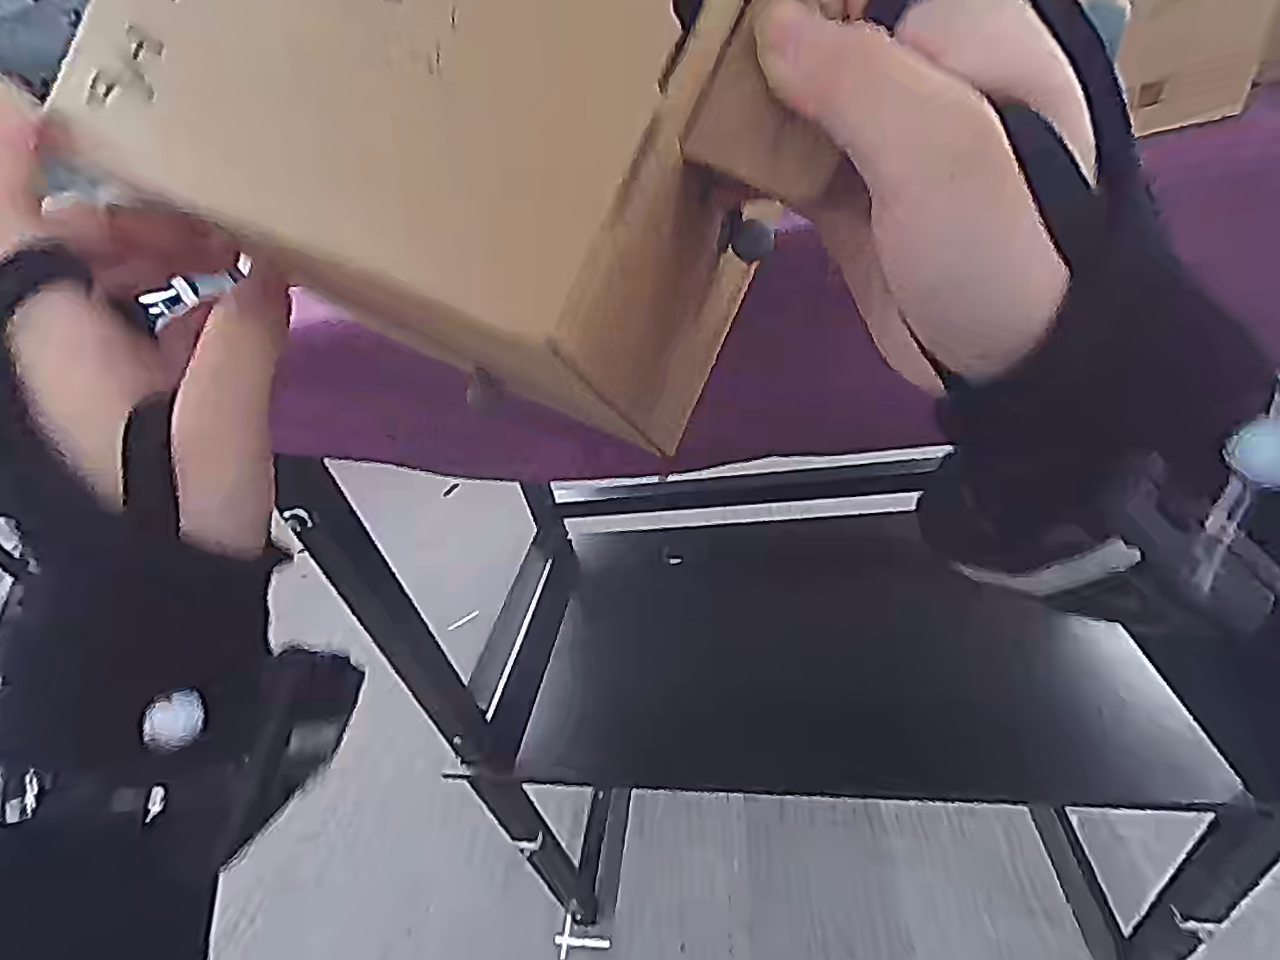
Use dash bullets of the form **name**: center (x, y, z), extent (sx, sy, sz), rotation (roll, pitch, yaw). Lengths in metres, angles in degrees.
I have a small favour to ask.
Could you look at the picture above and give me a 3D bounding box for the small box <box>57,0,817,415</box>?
- **small box**: center (-0.040, -0.138, 0.214), extent (0.179, 0.176, 0.168), rotation (25, 89, 13)
